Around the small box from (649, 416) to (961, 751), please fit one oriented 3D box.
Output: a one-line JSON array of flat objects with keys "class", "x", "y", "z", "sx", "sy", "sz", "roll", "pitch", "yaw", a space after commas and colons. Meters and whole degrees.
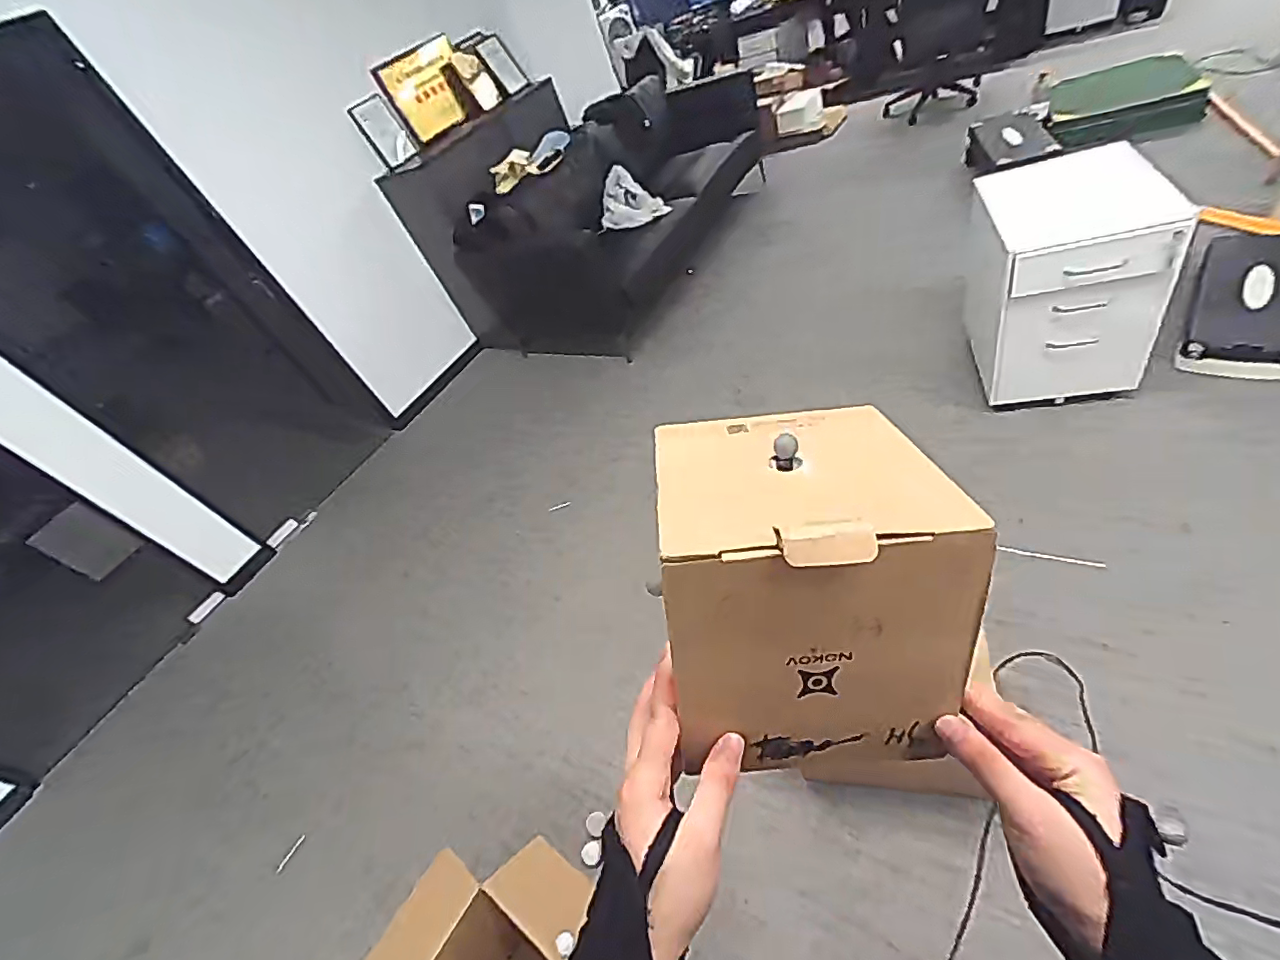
[{"class": "small box", "x": 0.097, "y": 0.062, "z": 0.395, "sx": 0.168, "sy": 0.179, "sz": 0.176, "roll": -6, "pitch": 28, "yaw": 3}]
